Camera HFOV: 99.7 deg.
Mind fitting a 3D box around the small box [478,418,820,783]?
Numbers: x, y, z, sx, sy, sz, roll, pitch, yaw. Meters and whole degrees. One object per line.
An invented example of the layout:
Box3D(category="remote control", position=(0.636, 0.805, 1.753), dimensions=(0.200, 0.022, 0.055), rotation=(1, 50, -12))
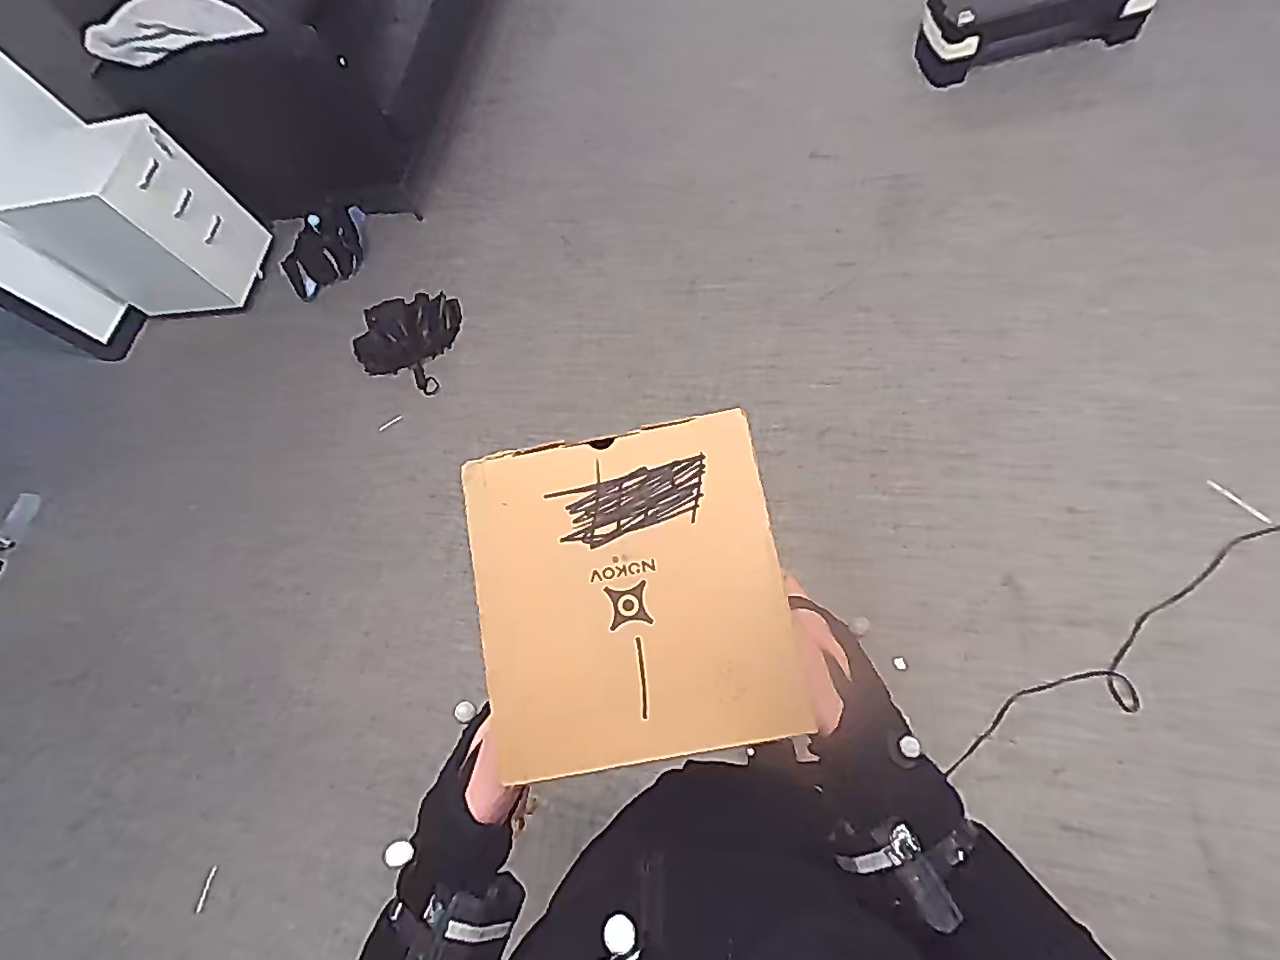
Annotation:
Box3D(category="small box", position=(0.003, 0.077, 0.373), dimensions=(0.168, 0.176, 0.179), rotation=(-11, 78, 2))
